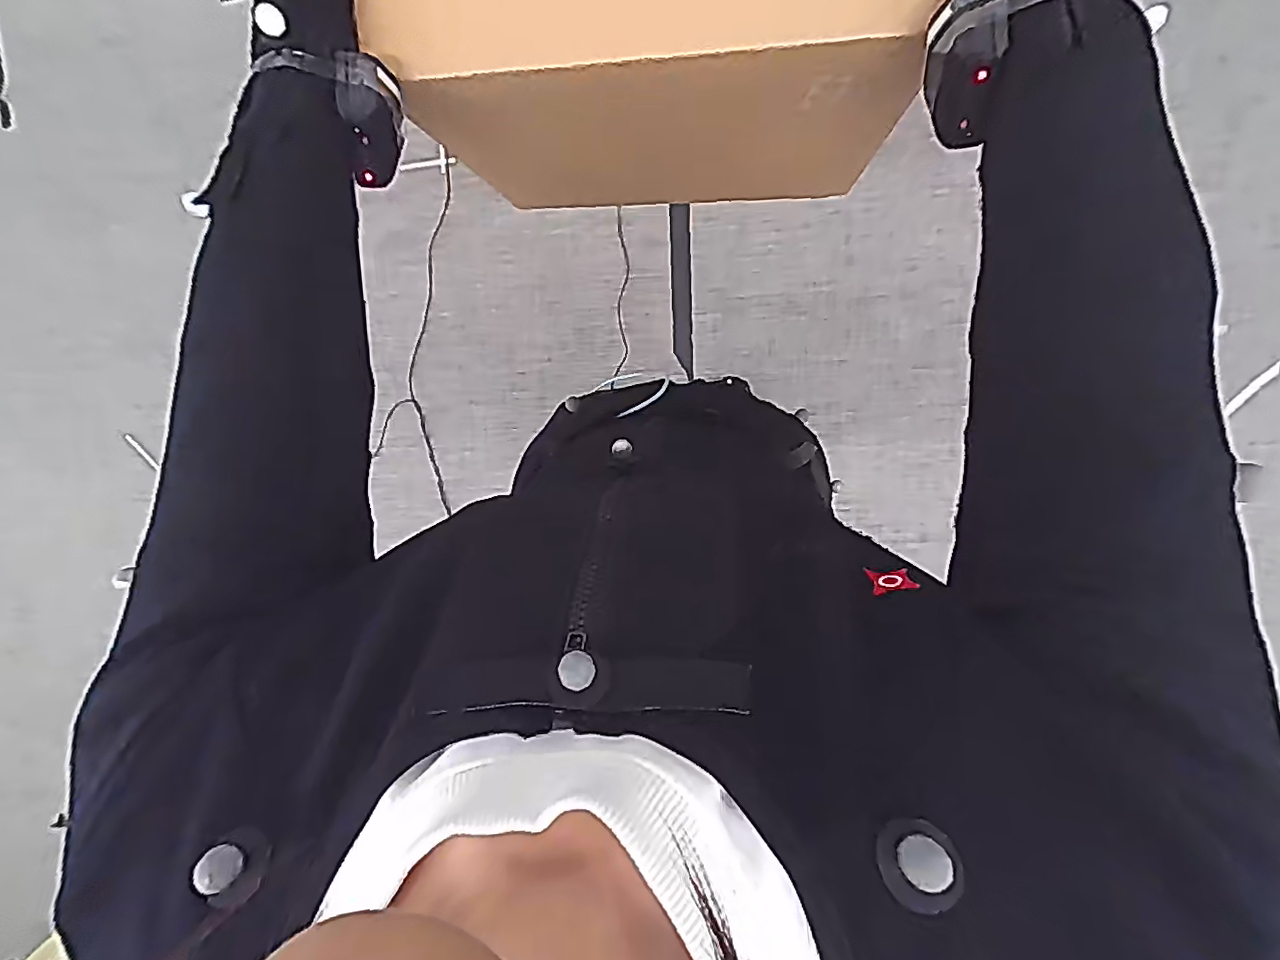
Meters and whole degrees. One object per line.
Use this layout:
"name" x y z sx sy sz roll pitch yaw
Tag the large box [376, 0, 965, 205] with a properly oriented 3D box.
"large box" 0.024 -0.467 0.486 0.408 0.320 0.320 1 102 7
